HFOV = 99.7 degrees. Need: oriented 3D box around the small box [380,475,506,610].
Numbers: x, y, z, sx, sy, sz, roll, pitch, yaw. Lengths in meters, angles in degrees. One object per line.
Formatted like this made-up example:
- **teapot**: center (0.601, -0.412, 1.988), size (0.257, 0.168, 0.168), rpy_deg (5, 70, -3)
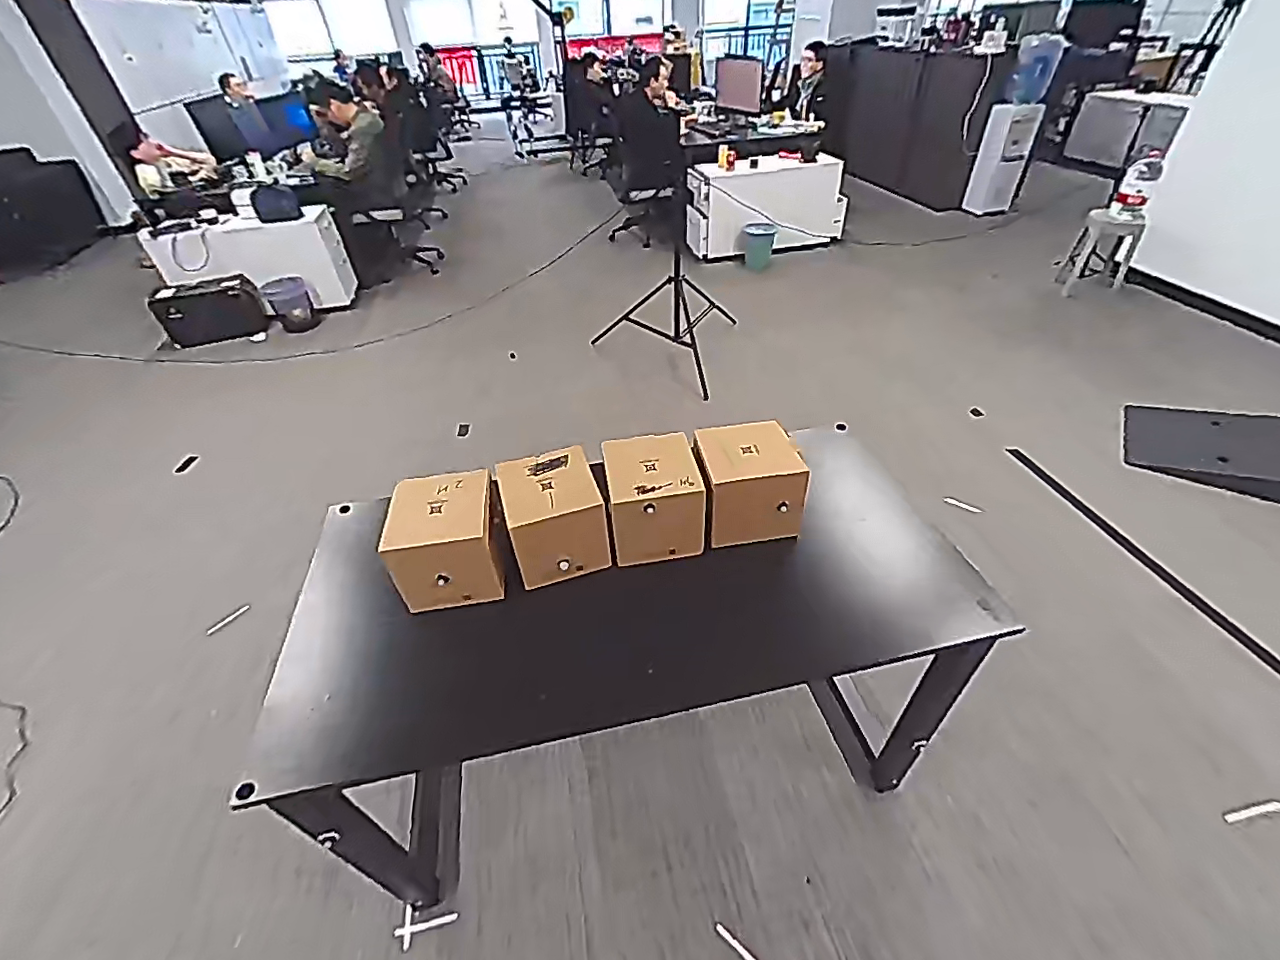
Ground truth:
- **small box**: center (-0.341, 0.118, 0.977), size (0.168, 0.176, 0.179), rpy_deg (-8, 40, -5)
